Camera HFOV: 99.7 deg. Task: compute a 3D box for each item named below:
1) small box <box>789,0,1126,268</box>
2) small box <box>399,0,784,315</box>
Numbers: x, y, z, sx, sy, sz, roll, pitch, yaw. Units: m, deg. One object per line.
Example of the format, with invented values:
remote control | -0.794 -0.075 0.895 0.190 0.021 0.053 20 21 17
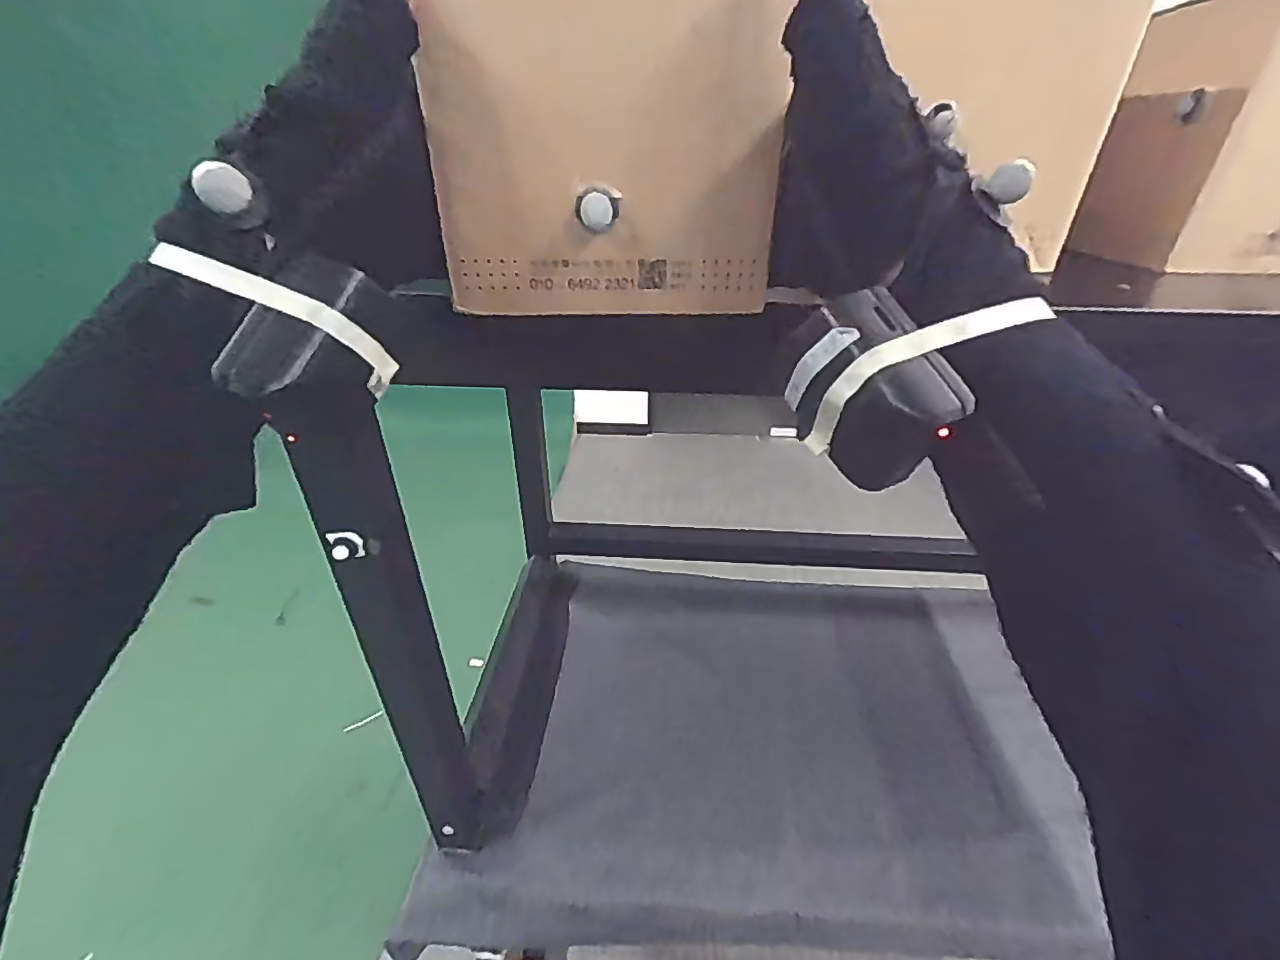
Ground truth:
small box | 0.217 -0.267 0.423 0.168 0.176 0.179 3 31 6
small box | -0.026 -0.203 0.315 0.168 0.176 0.179 -1 32 -2
